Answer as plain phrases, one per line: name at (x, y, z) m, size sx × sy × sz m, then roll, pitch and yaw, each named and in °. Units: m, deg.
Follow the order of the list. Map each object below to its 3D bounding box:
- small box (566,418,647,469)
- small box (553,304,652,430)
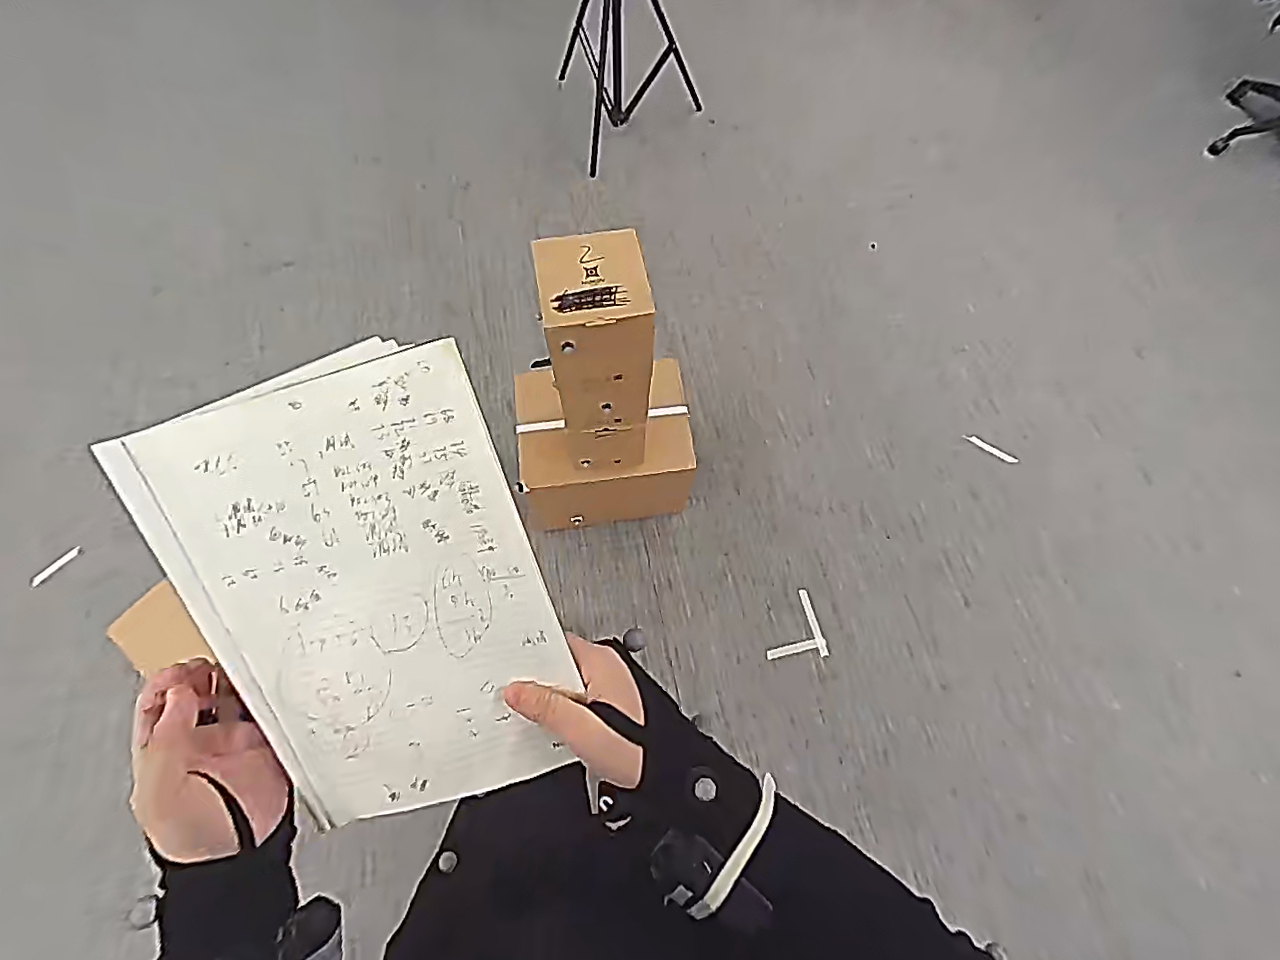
small box at (-0.072, -0.133, 1.185) m, size 0.168 × 0.176 × 0.179 m, roll -5°, pitch 66°, yaw -3°
small box at (-0.070, -0.207, 1.038) m, size 0.168 × 0.176 × 0.179 m, roll -7°, pitch 68°, yaw -5°
